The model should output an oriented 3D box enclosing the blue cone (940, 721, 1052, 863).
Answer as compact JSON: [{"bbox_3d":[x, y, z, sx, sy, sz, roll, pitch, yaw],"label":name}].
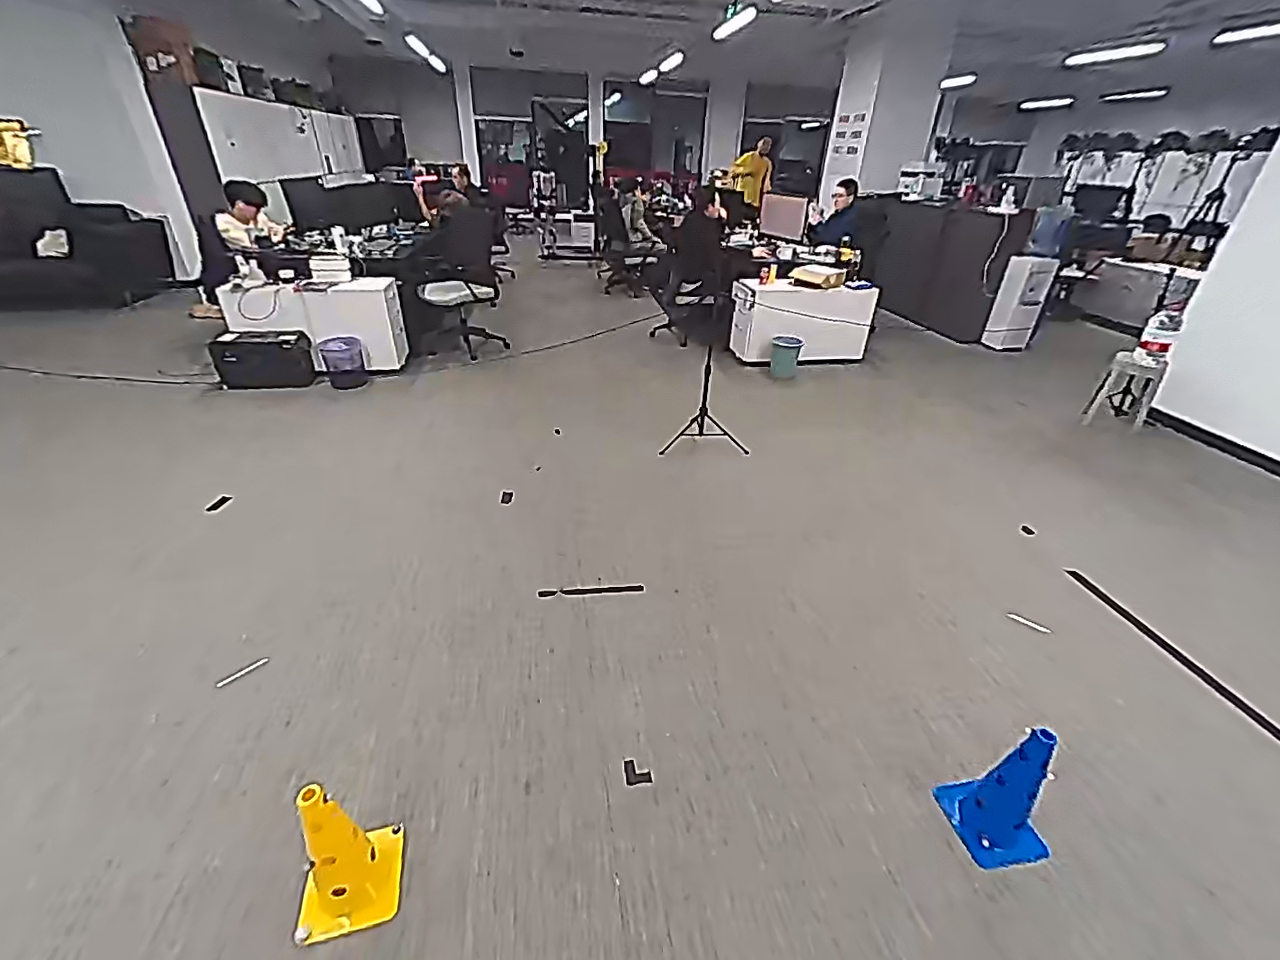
[{"bbox_3d":[0.893,0.717,1.285,0.193,0.380,0.192,-2,30,-8],"label":"blue cone"}]
